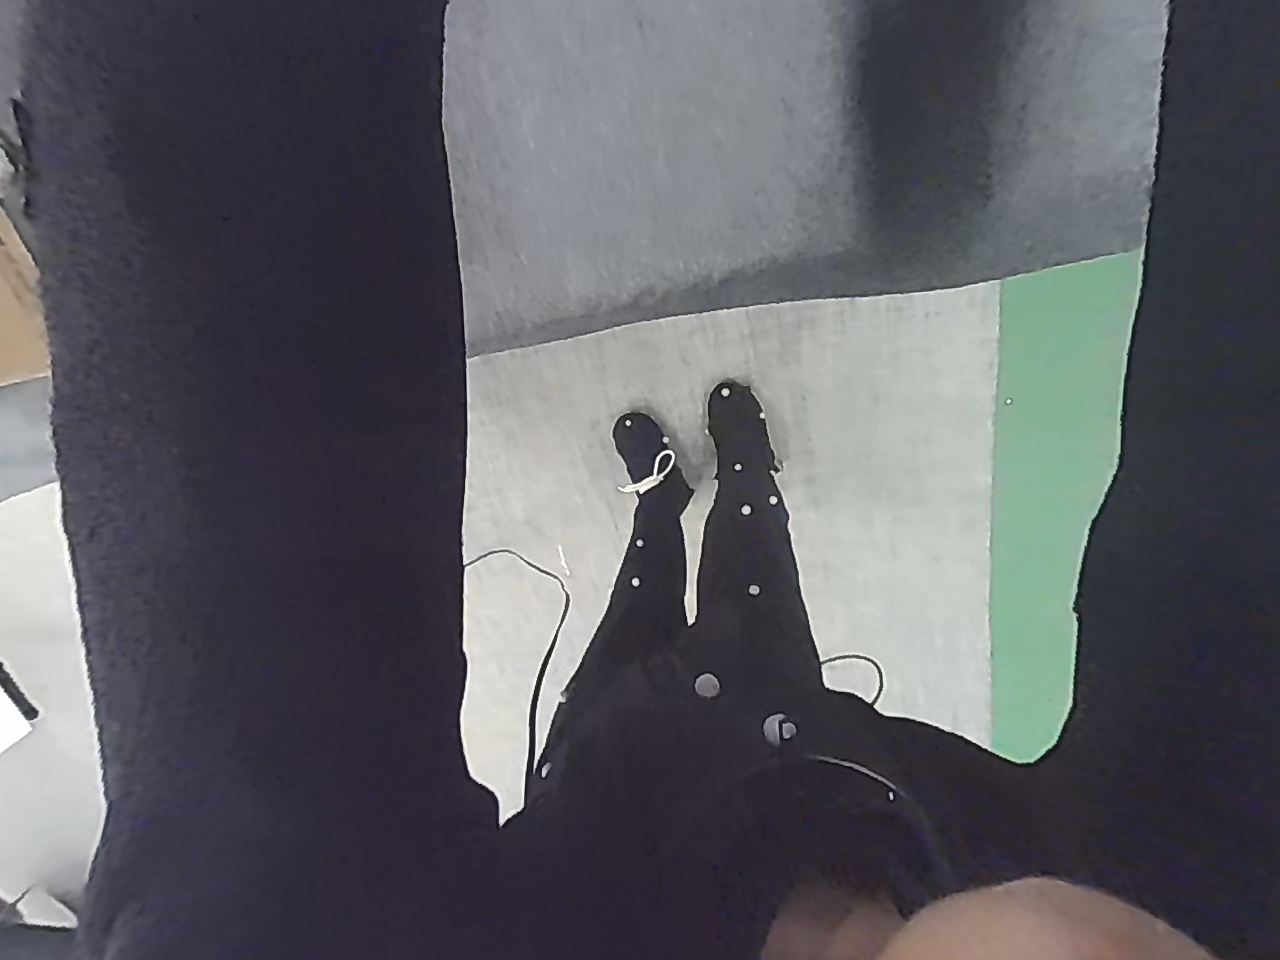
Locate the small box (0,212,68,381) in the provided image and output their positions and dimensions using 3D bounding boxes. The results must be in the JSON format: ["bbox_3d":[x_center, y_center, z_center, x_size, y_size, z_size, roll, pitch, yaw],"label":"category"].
[{"bbox_3d":[-0.587,-0.136,0.387,0.179,0.176,0.168,-6,113,15],"label":"small box"}]
